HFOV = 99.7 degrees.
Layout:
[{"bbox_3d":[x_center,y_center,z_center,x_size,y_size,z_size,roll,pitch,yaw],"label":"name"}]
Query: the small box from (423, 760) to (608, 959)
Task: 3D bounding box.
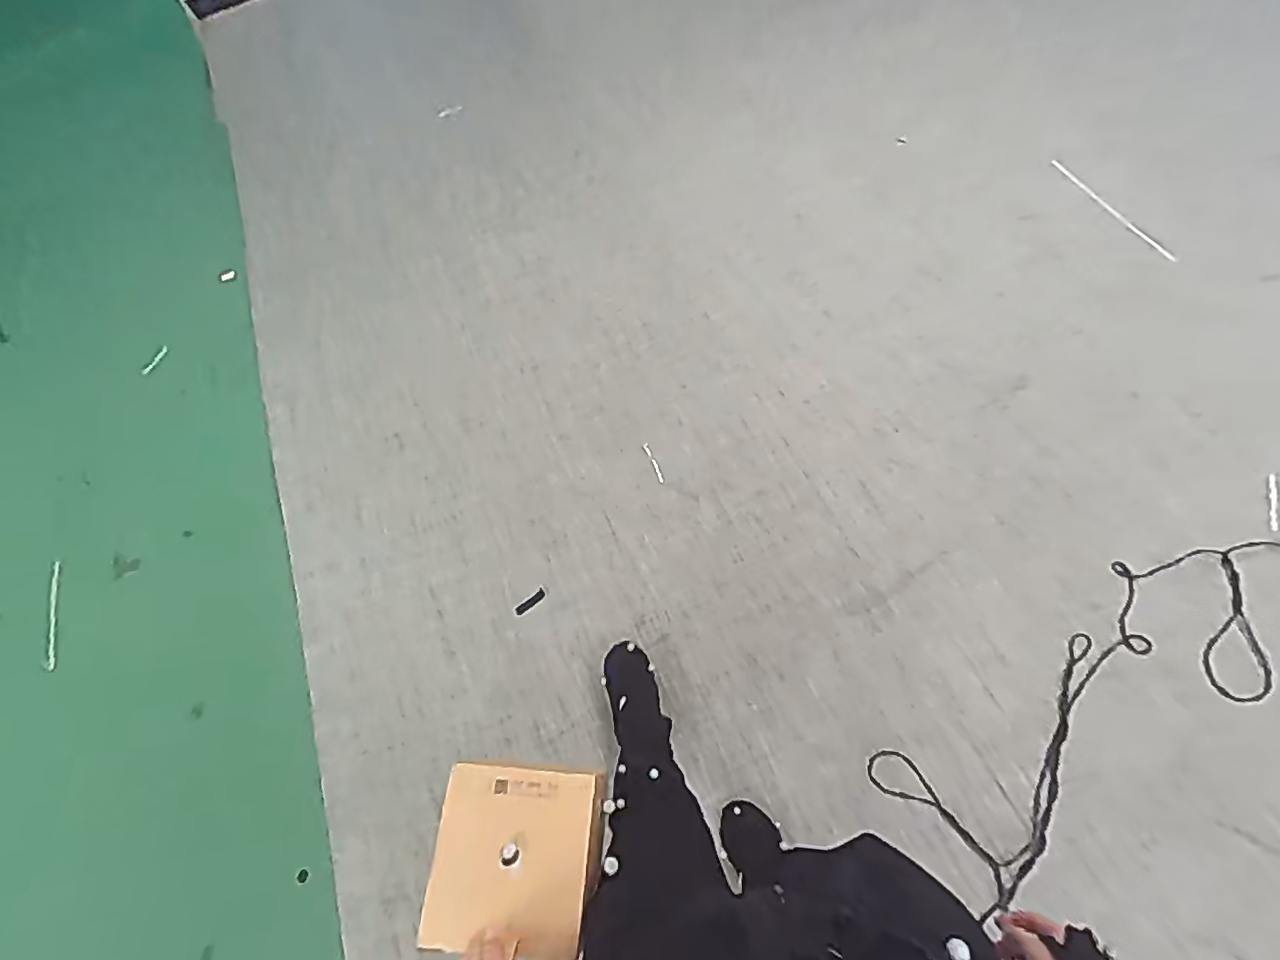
[{"bbox_3d":[-0.132,0.434,0.648,0.168,0.179,0.176,3,63,4],"label":"small box"}]
